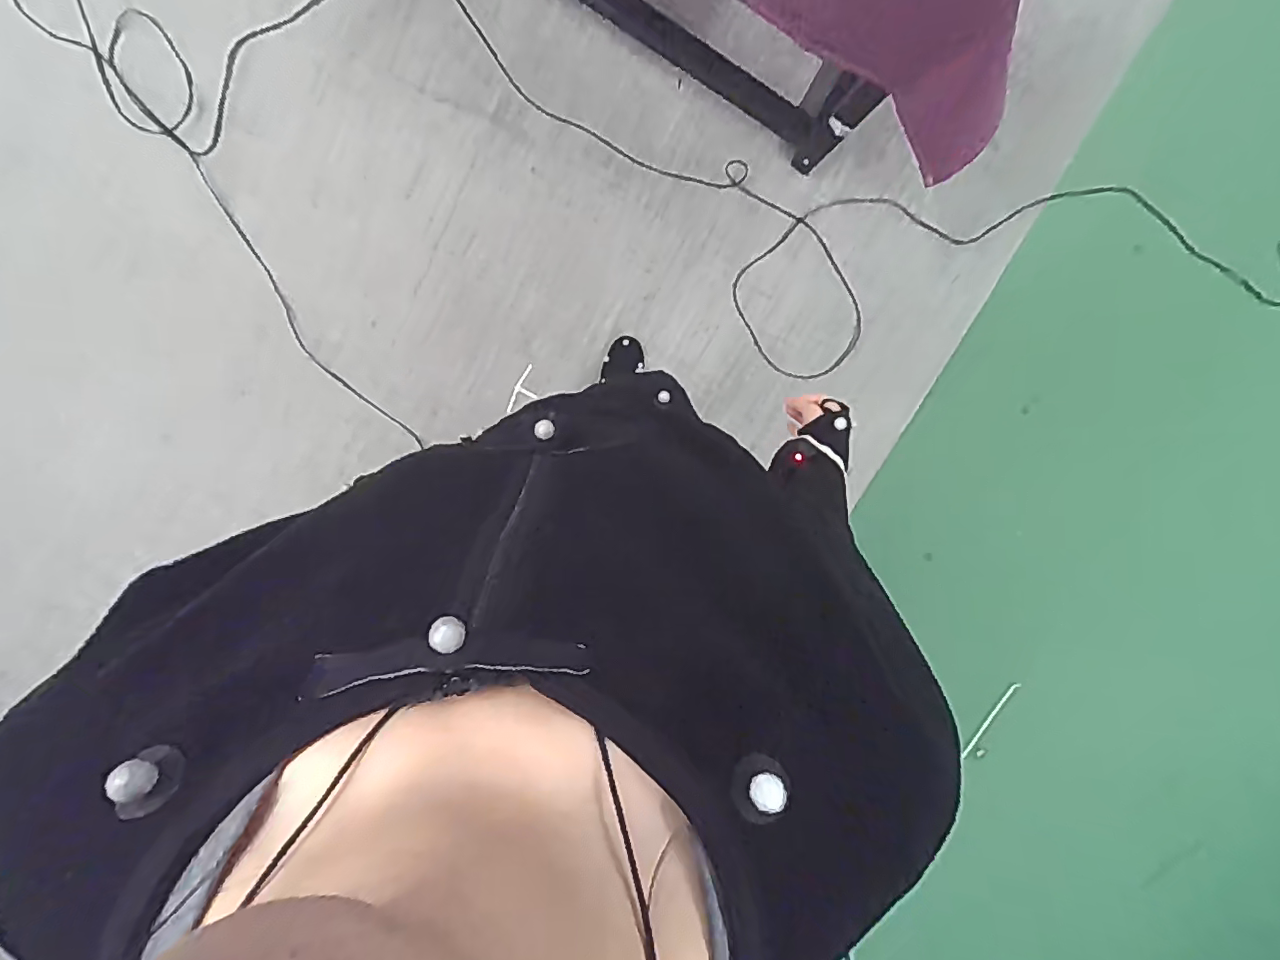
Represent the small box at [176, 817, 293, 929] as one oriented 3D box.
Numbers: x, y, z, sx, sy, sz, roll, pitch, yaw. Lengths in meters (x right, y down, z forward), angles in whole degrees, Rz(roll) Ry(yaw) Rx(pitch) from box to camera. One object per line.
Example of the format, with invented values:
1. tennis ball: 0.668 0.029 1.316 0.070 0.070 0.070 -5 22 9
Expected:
1. small box: -1.150 1.118 1.551 0.179 0.176 0.168 39 96 -11
